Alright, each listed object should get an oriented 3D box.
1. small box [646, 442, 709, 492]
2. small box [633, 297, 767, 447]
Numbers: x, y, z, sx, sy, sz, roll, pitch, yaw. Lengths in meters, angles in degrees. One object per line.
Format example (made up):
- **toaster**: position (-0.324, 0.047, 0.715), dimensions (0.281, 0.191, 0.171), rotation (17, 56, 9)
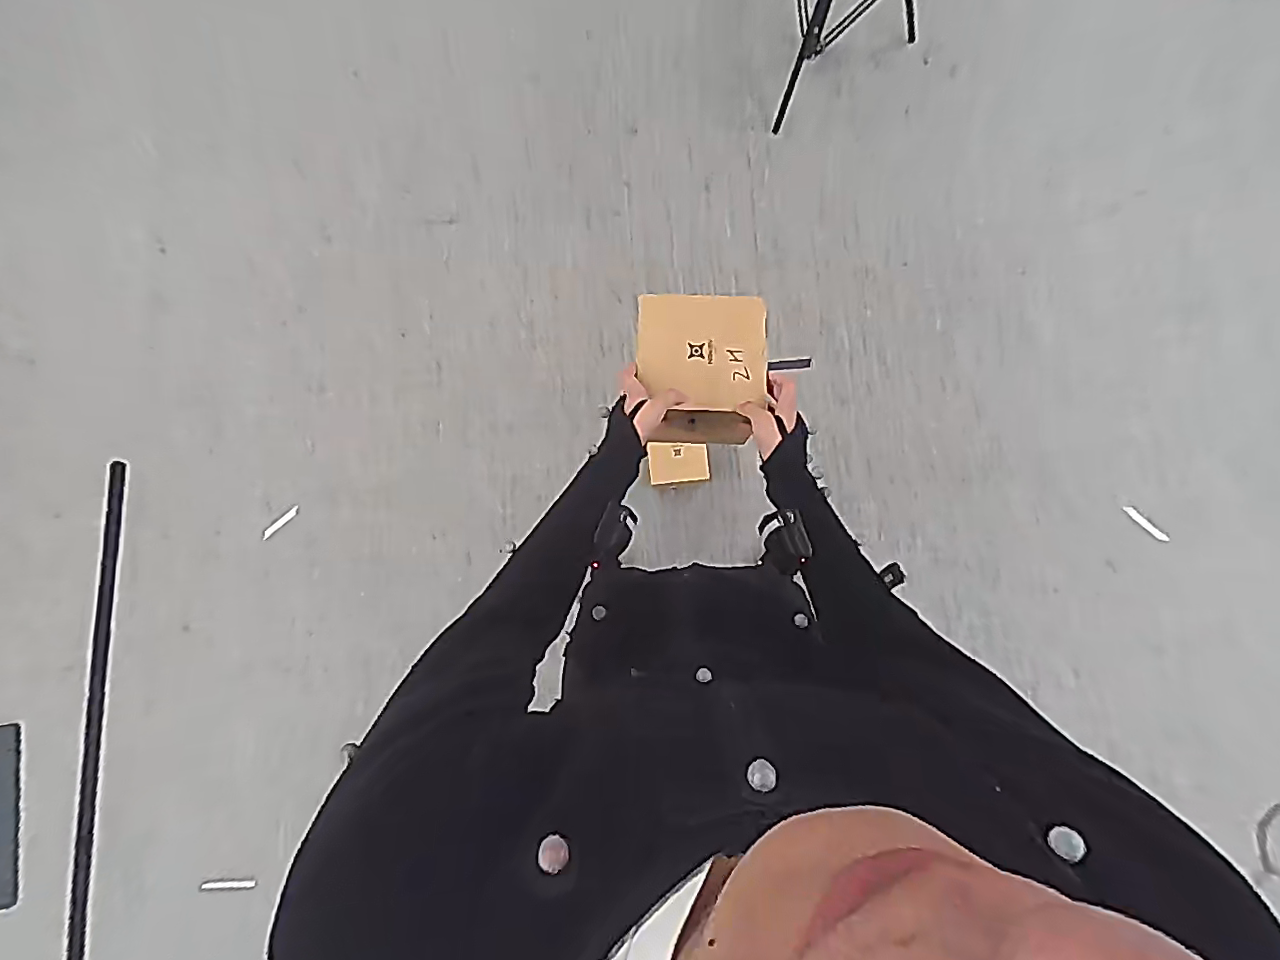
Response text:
- **small box**: position (0.104, -0.065, 1.584), dimensions (0.168, 0.176, 0.179), rotation (-6, 82, 1)
- **small box**: position (0.081, -0.149, 0.796), dimensions (0.179, 0.176, 0.168), rotation (3, 80, 0)
